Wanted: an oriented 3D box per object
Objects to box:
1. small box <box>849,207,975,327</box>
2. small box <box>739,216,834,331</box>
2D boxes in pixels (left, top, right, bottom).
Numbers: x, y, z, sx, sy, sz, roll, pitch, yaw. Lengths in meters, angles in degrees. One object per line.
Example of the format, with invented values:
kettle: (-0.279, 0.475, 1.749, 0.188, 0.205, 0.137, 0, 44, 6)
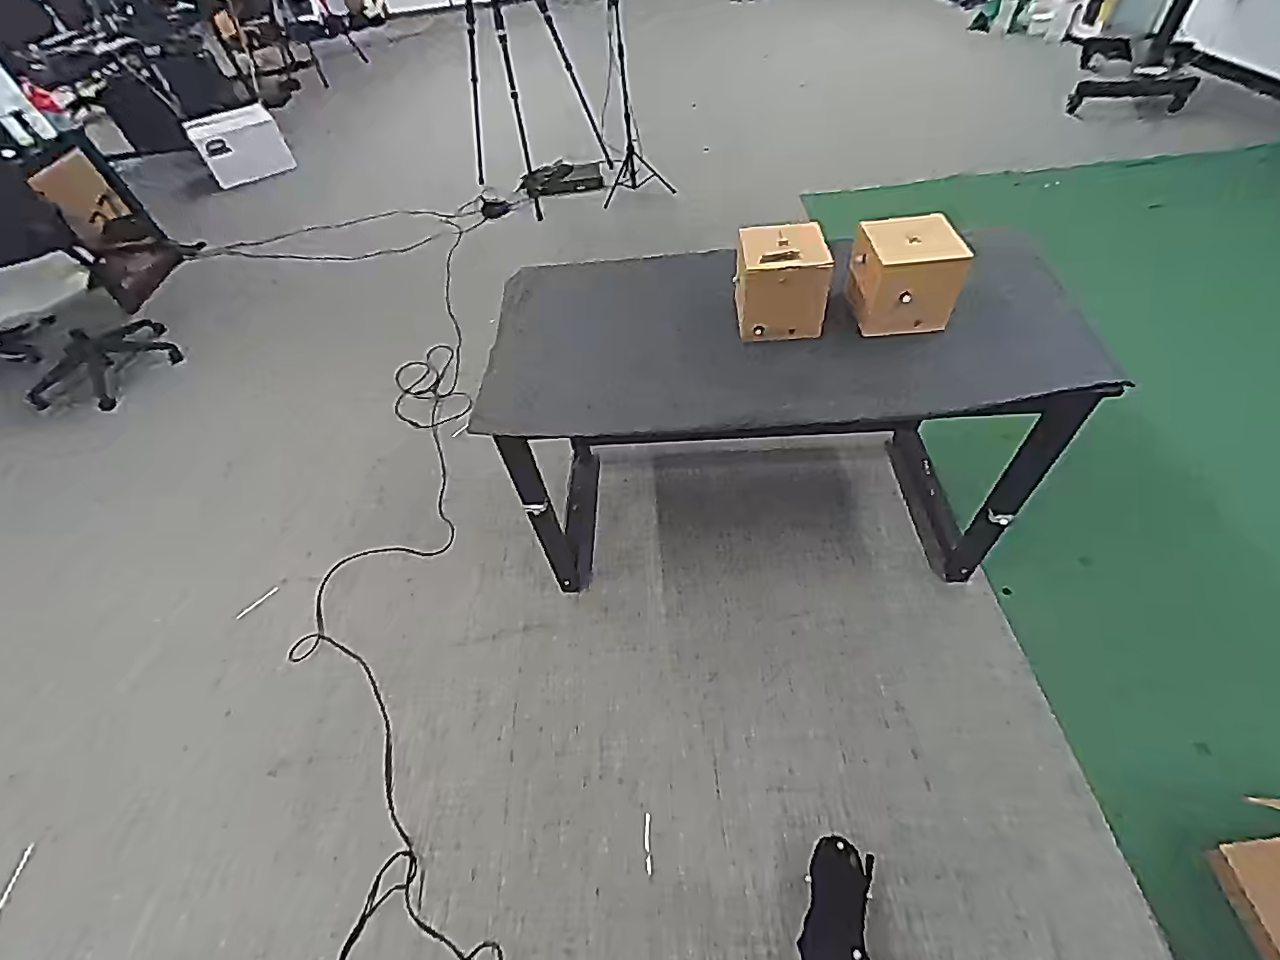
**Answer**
small box: (0.544, -0.429, 1.109, 0.168, 0.176, 0.179, -4, 51, 4)
small box: (0.298, -0.427, 1.137, 0.168, 0.176, 0.179, -2, 50, 6)
